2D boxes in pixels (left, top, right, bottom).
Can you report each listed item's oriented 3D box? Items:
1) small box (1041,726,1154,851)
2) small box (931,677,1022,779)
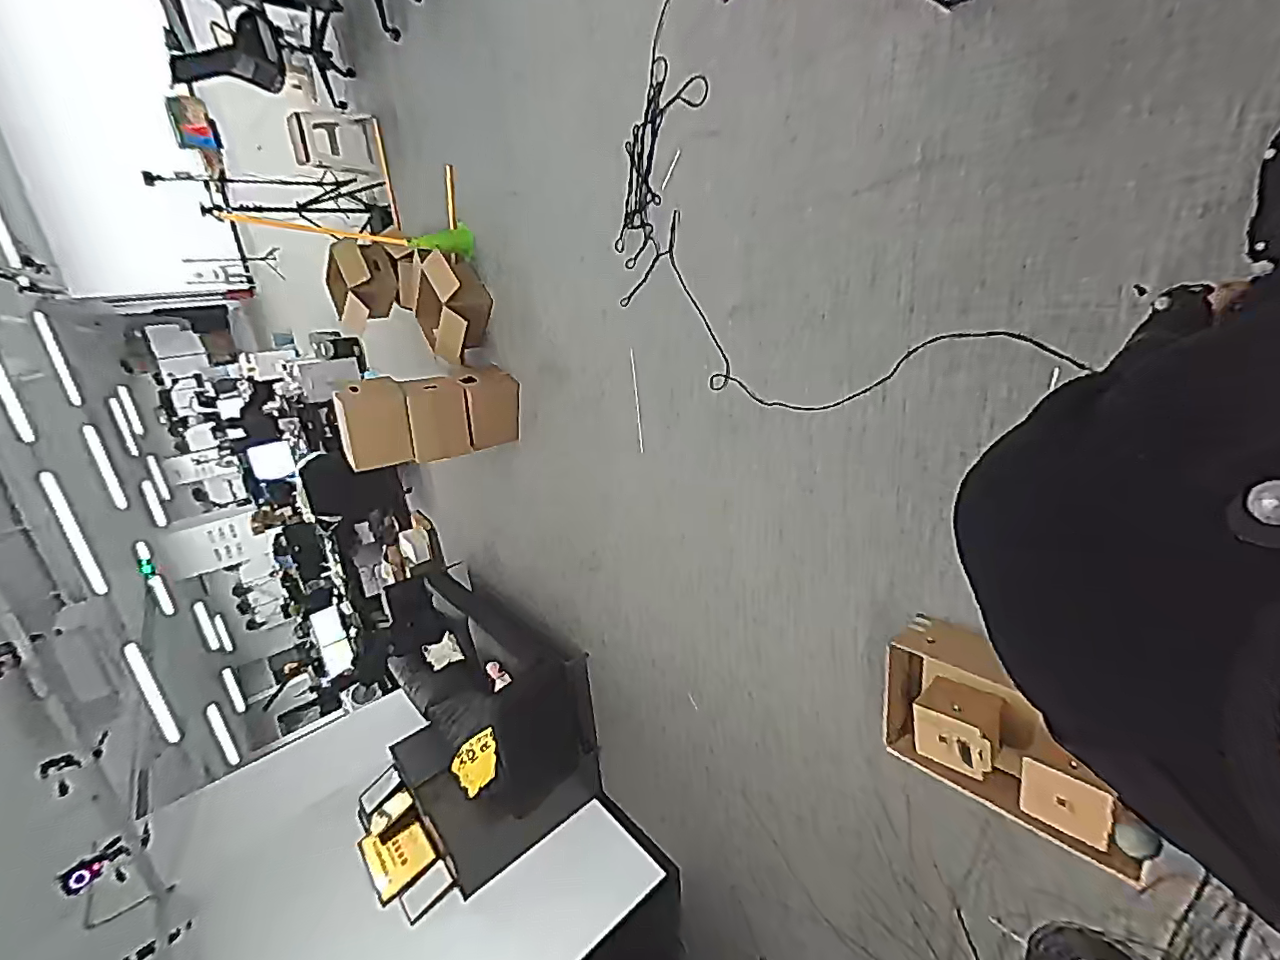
[{"bbox_3d":[1.117,0.739,1.321,0.179,0.176,0.168,12,114,52],"label":"small box"},{"bbox_3d":[0.951,0.685,1.521,0.179,0.176,0.168,6,110,52],"label":"small box"}]
